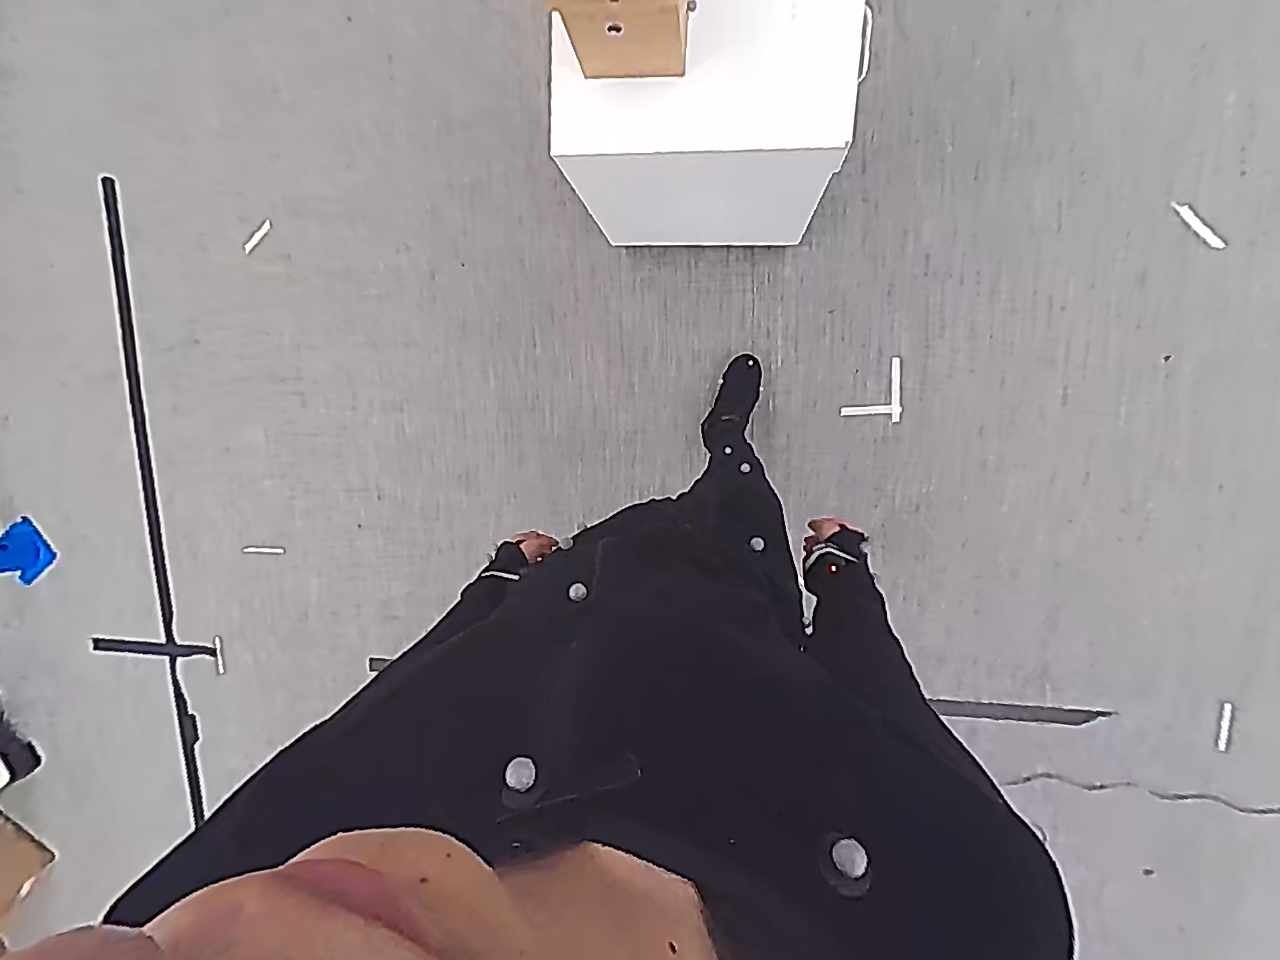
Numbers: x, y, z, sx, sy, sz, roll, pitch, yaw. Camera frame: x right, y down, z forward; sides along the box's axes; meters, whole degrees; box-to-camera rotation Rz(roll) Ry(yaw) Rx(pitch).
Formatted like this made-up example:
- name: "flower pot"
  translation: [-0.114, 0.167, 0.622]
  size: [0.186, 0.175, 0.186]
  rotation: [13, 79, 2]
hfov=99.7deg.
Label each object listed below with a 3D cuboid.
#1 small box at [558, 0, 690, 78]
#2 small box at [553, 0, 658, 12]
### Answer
- name: "small box"
  translation: [-0.016, -0.756, 0.835]
  size: [0.179, 0.176, 0.168]
  rotation: [4, 99, 7]
- name: "small box"
  translation: [-0.057, -0.736, 0.678]
  size: [0.168, 0.176, 0.179]
  rotation: [6, 98, 7]
